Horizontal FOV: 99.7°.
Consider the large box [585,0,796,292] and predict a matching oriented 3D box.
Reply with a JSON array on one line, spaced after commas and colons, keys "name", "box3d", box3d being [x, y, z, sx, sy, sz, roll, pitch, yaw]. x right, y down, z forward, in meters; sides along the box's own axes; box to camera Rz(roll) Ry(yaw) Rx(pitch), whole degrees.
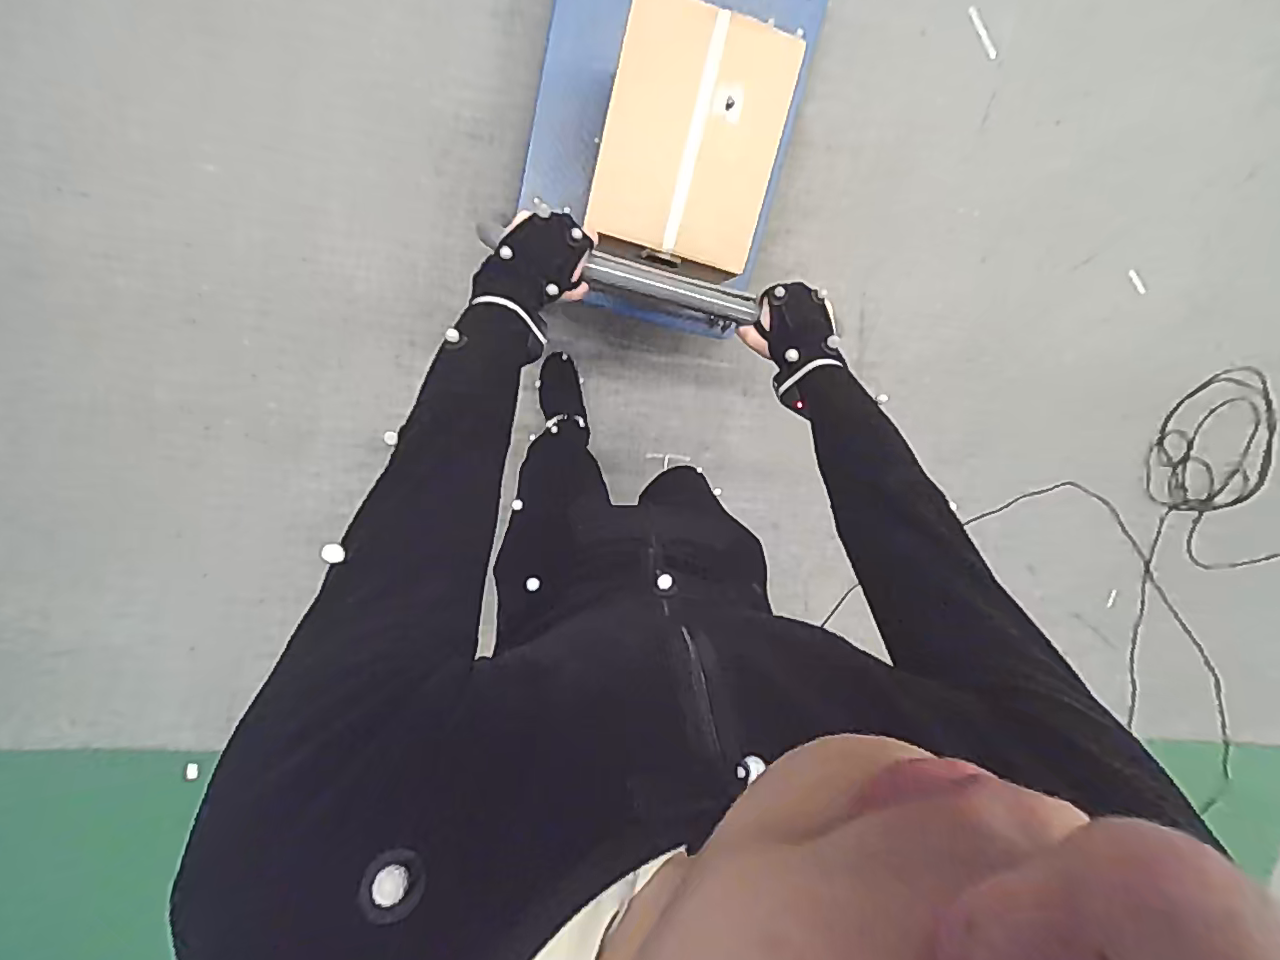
[{"name": "large box", "box3d": [0.073, -0.642, 1.118, 0.320, 0.320, 0.408, 12, 100, -11]}]
